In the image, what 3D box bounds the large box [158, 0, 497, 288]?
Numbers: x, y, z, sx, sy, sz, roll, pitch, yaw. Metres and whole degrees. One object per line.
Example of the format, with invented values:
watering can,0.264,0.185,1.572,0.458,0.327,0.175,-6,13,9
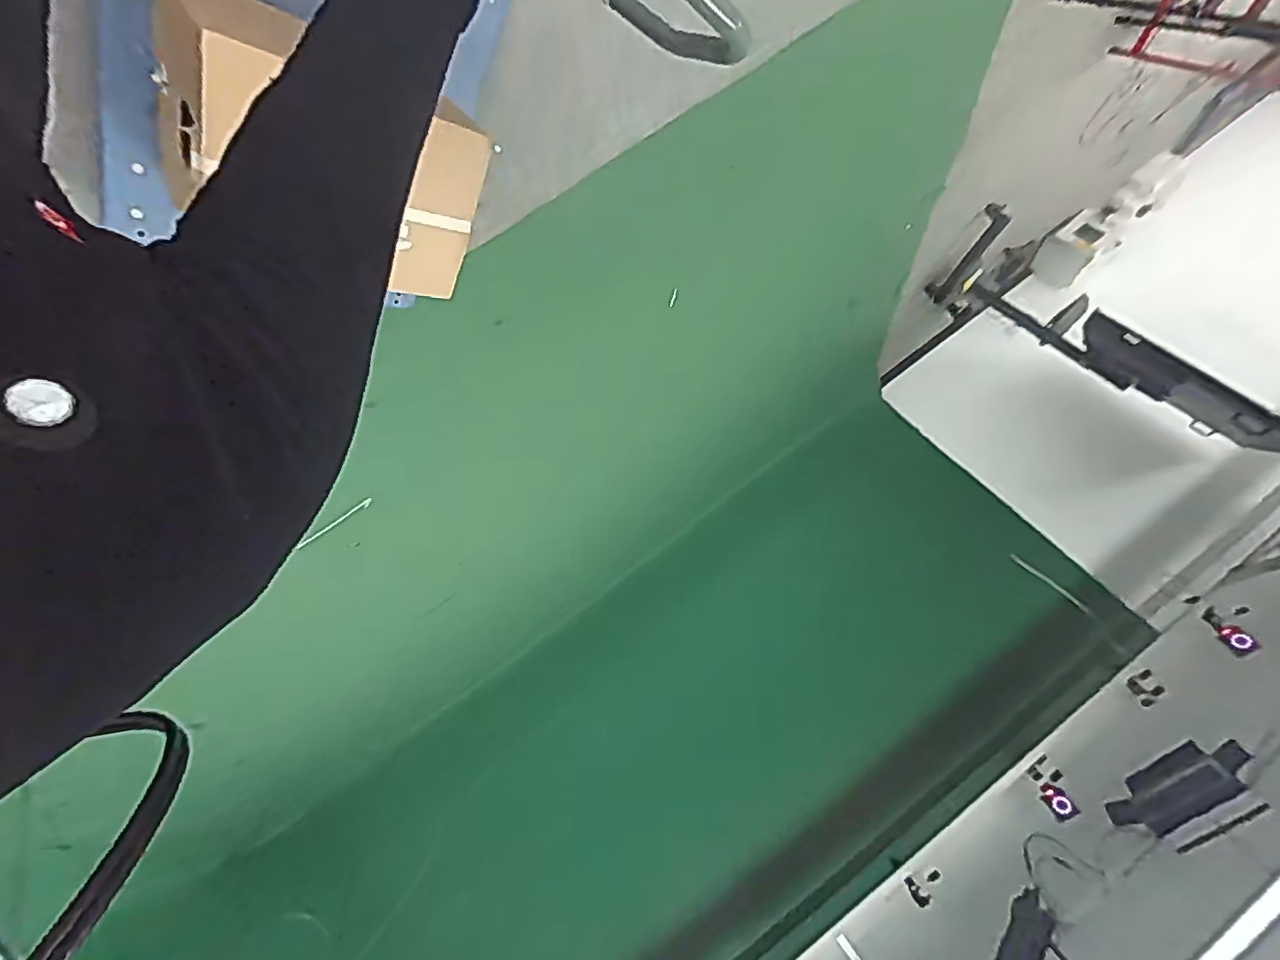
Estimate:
large box,-0.532,-0.567,0.931,0.408,0.320,0.320,-12,144,-46
